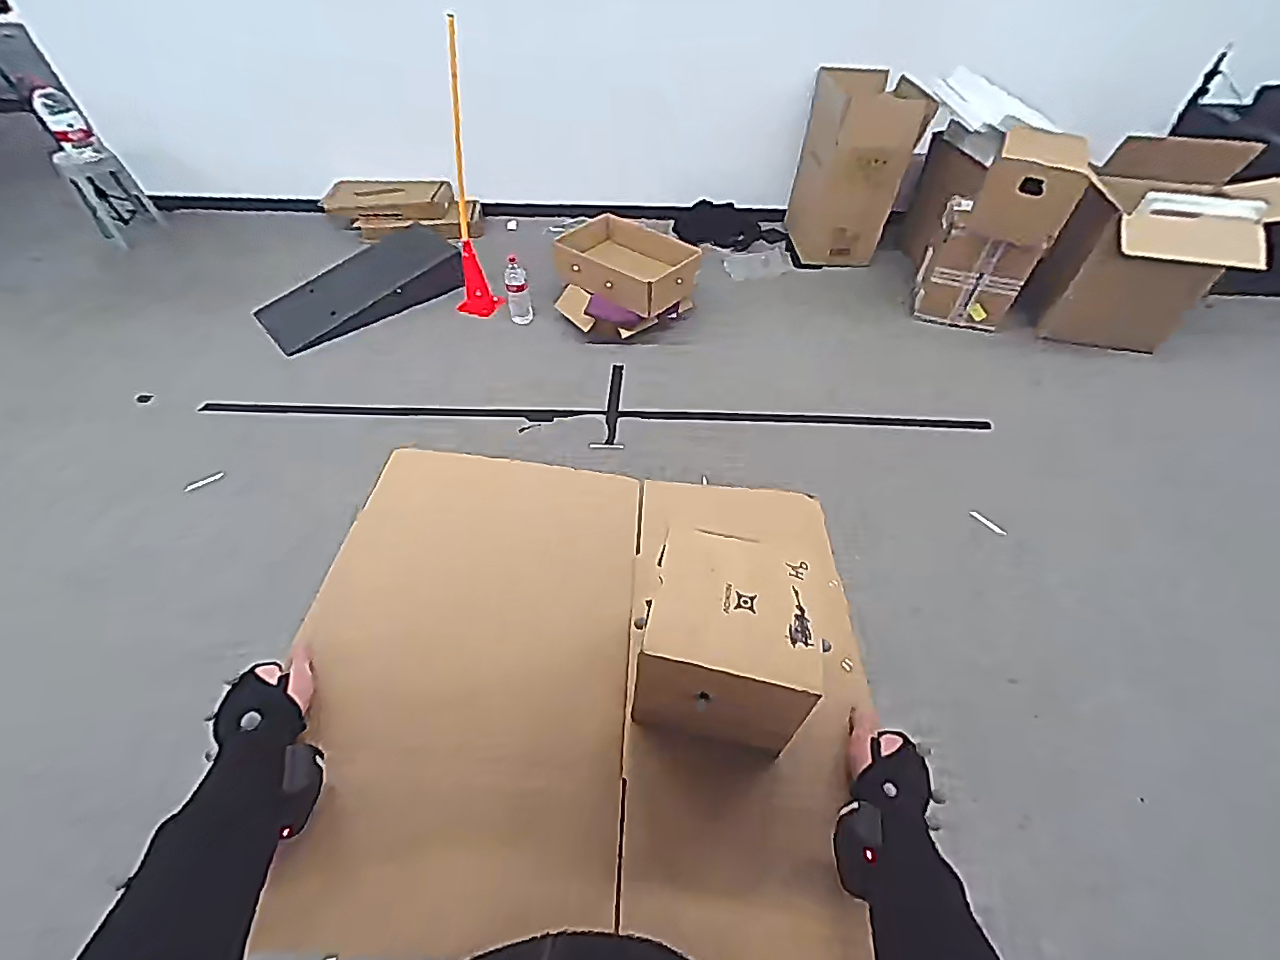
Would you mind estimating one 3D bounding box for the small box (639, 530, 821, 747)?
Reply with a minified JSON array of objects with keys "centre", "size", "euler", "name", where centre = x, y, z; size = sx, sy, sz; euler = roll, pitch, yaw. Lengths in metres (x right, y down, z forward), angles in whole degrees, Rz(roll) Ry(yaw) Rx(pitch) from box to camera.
[{"centre":[0.099,0.186,0.627],"size":[0.179,0.176,0.168],"euler":[10,46,7],"name":"small box"}]
